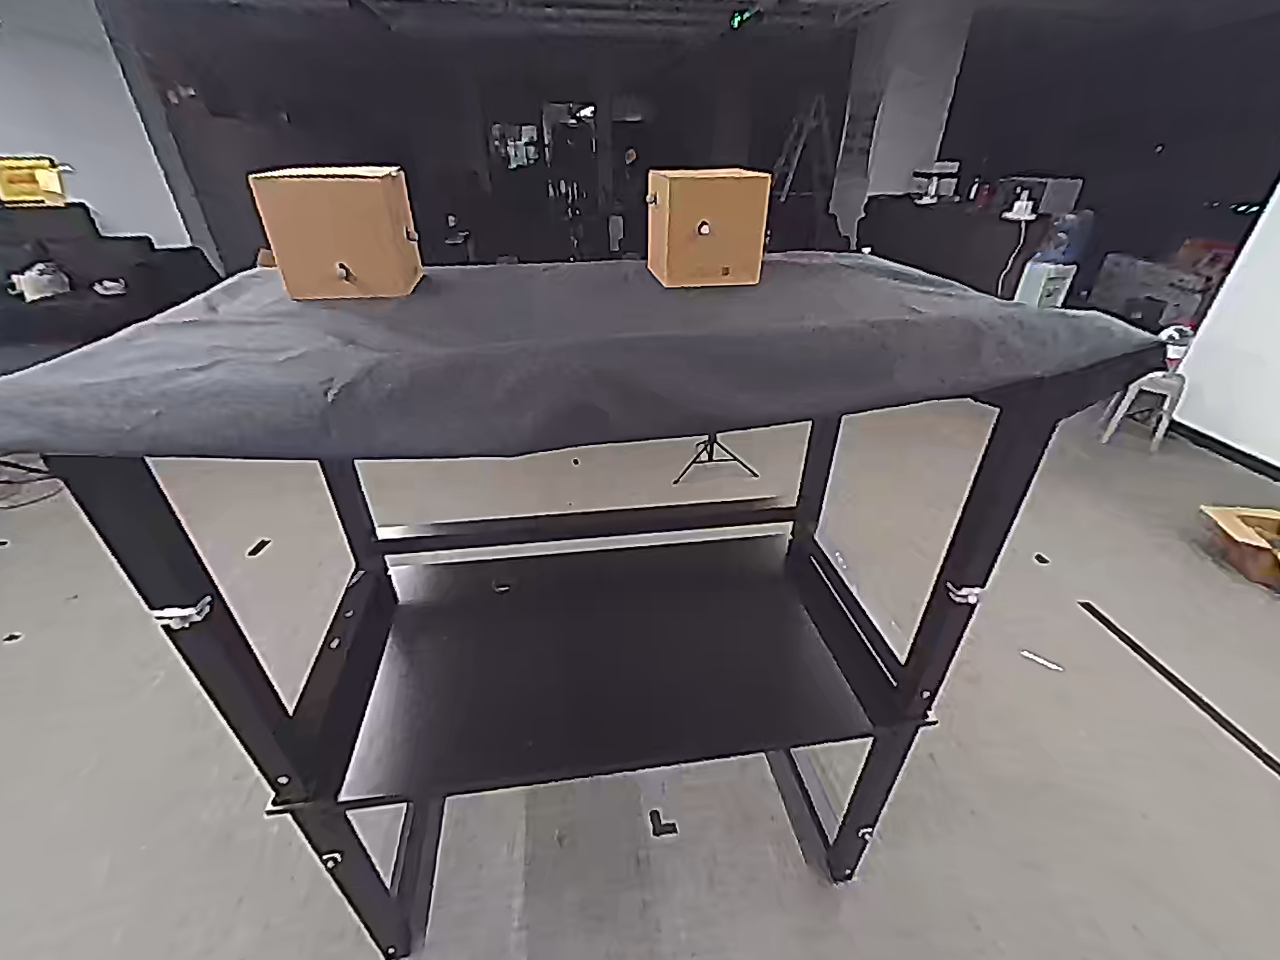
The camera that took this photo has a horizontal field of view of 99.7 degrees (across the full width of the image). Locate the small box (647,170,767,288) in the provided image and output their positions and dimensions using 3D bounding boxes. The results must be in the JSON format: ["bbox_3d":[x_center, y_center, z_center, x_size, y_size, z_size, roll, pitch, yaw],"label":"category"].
[{"bbox_3d":[0.108,-0.435,0.940,0.168,0.176,0.179,-5,33,-8],"label":"small box"}]

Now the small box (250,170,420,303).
[{"bbox_3d":[-0.460,-0.384,0.853,0.179,0.176,0.168,-5,33,-10],"label":"small box"}]
